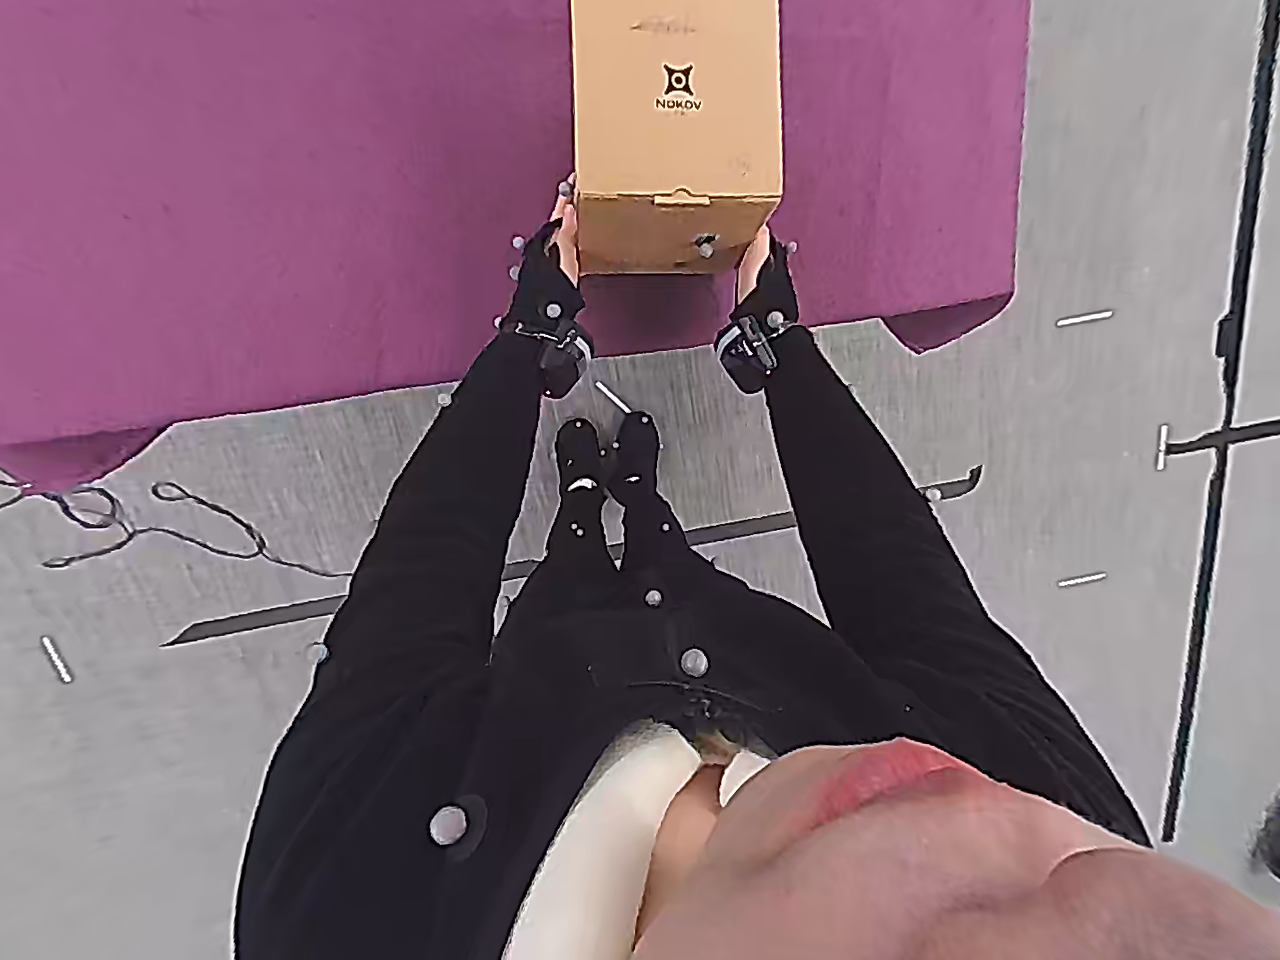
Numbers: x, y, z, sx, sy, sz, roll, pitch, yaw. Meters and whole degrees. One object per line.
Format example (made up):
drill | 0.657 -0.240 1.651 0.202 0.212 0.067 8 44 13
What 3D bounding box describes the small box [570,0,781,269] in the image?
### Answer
small box | 0.022 -0.308 0.499 0.168 0.176 0.179 -2 92 -6
